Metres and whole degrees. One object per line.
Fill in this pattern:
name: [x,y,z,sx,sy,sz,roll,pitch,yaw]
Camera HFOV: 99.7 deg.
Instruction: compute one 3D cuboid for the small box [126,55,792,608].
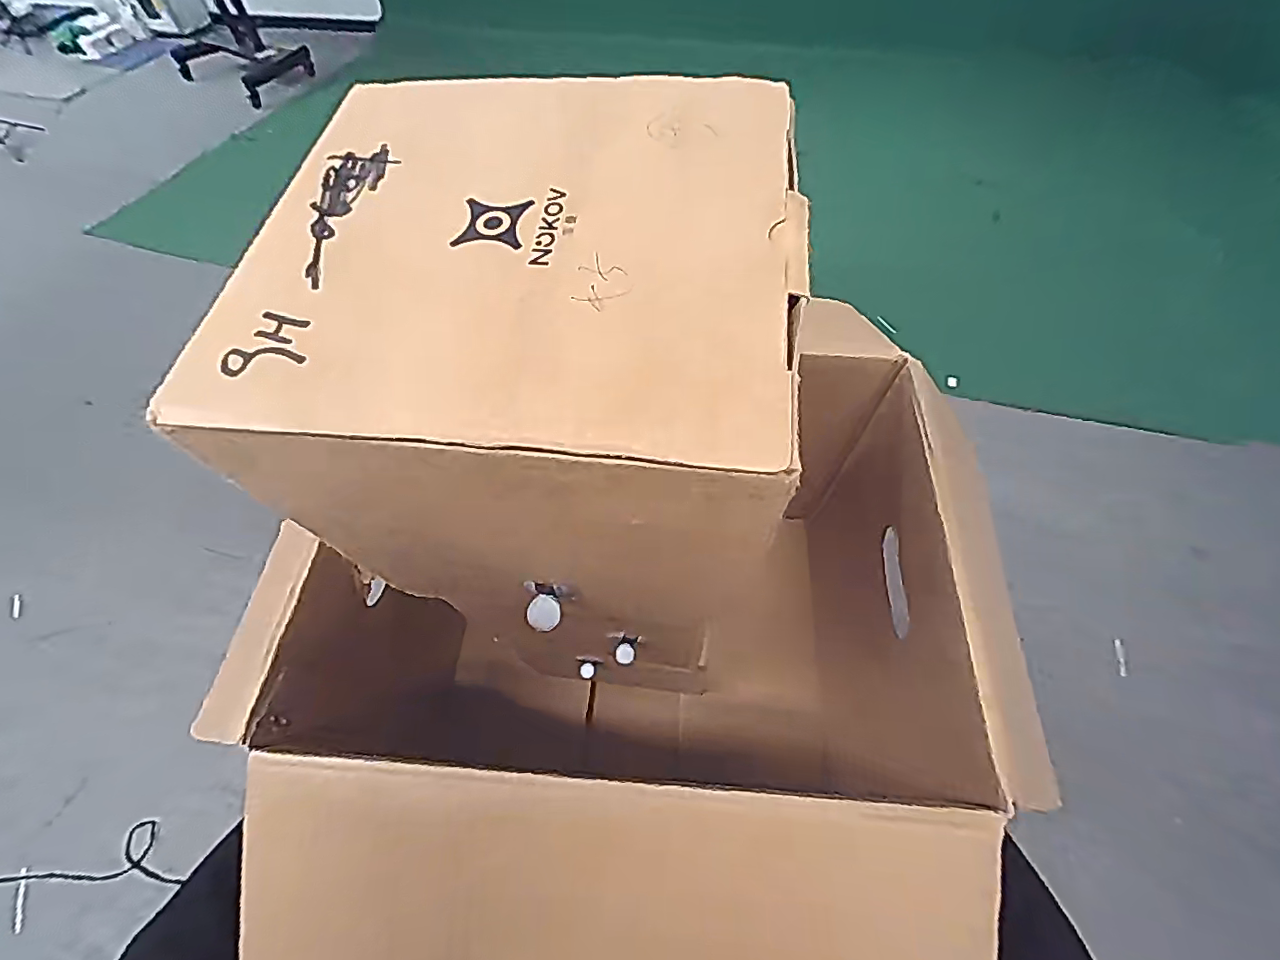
small box: [-0.039,-0.048,0.242,0.179,0.176,0.168,5,62,5]
